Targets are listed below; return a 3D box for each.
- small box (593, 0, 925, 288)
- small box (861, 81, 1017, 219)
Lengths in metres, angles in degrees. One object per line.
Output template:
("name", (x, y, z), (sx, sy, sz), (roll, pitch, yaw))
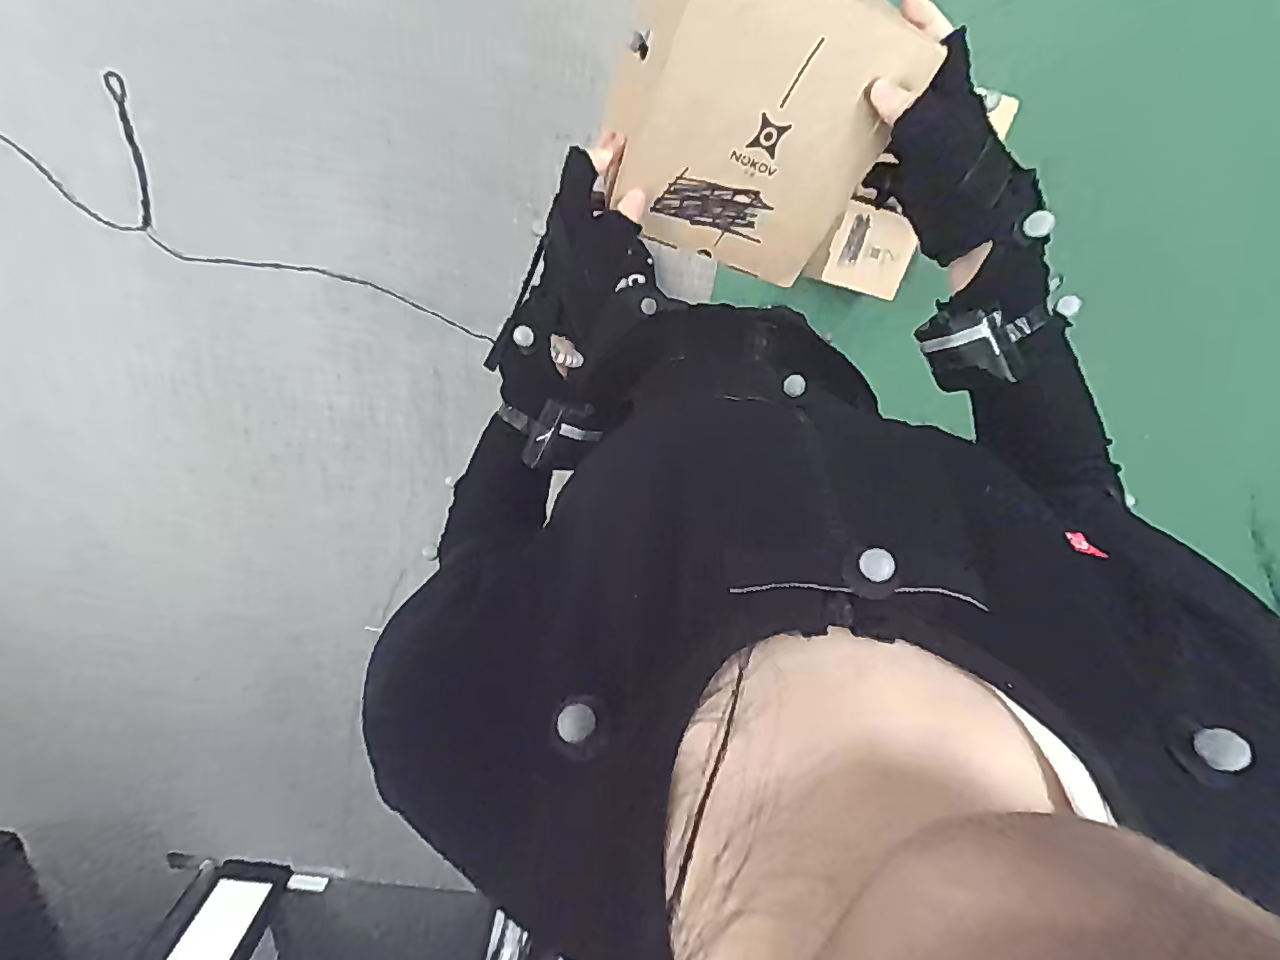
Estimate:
("small box", (0.068, -0.289, 0.416), (0.168, 0.176, 0.179), (10, 140, -19))
("small box", (0.543, -0.603, 1.013), (0.168, 0.176, 0.179), (13, 114, -4))
